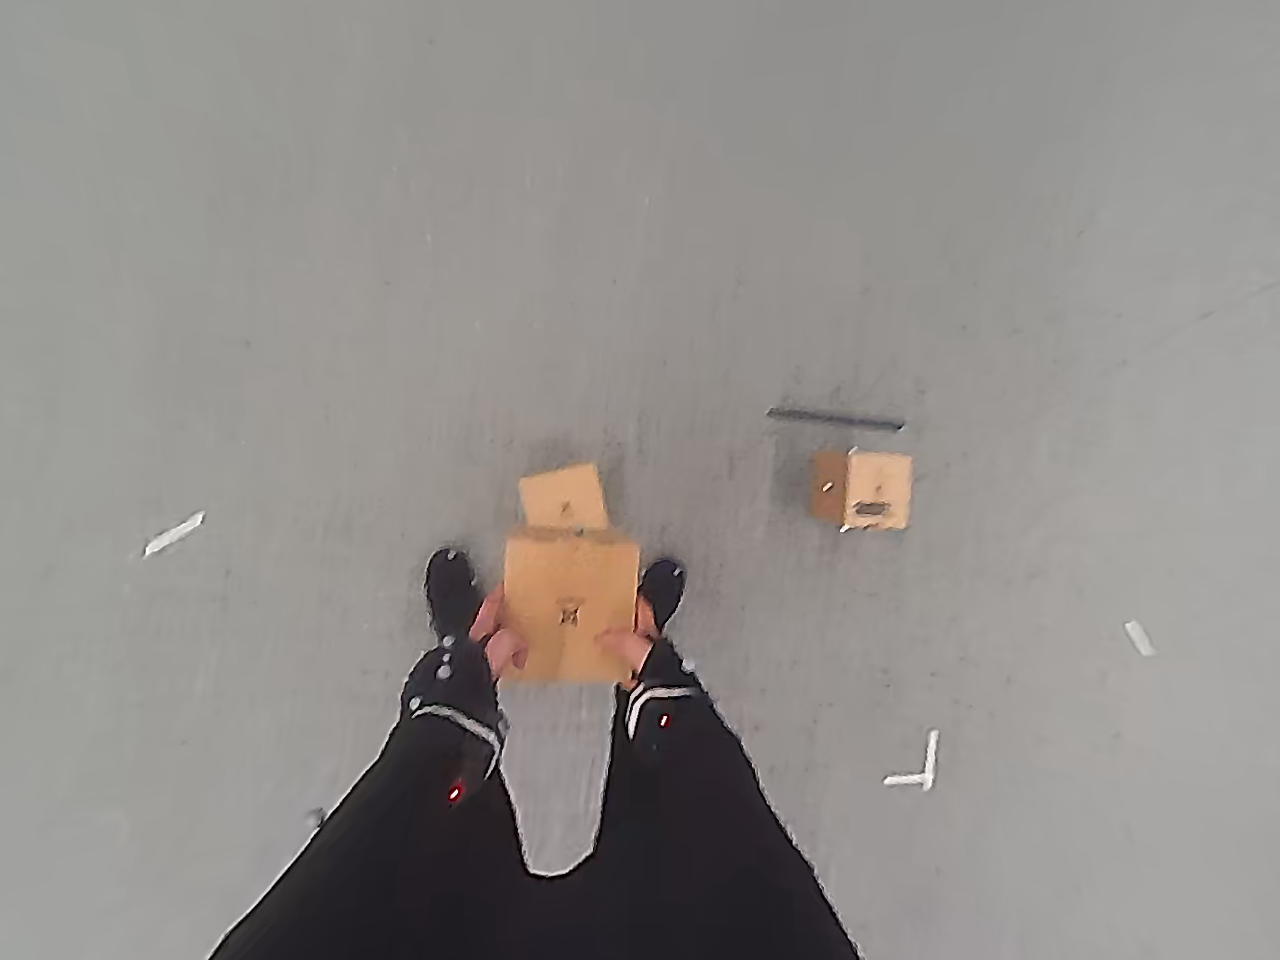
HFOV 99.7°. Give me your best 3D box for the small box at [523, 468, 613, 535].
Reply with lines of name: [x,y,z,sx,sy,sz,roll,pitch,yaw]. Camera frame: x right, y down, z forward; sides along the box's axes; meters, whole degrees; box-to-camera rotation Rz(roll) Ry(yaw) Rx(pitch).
small box: [-0.164,0.073,1.206,0.168,0.176,0.179,-13,96,-10]

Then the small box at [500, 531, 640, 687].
small box: [-0.097,0.167,0.744,0.168,0.176,0.179,3,88,-10]
